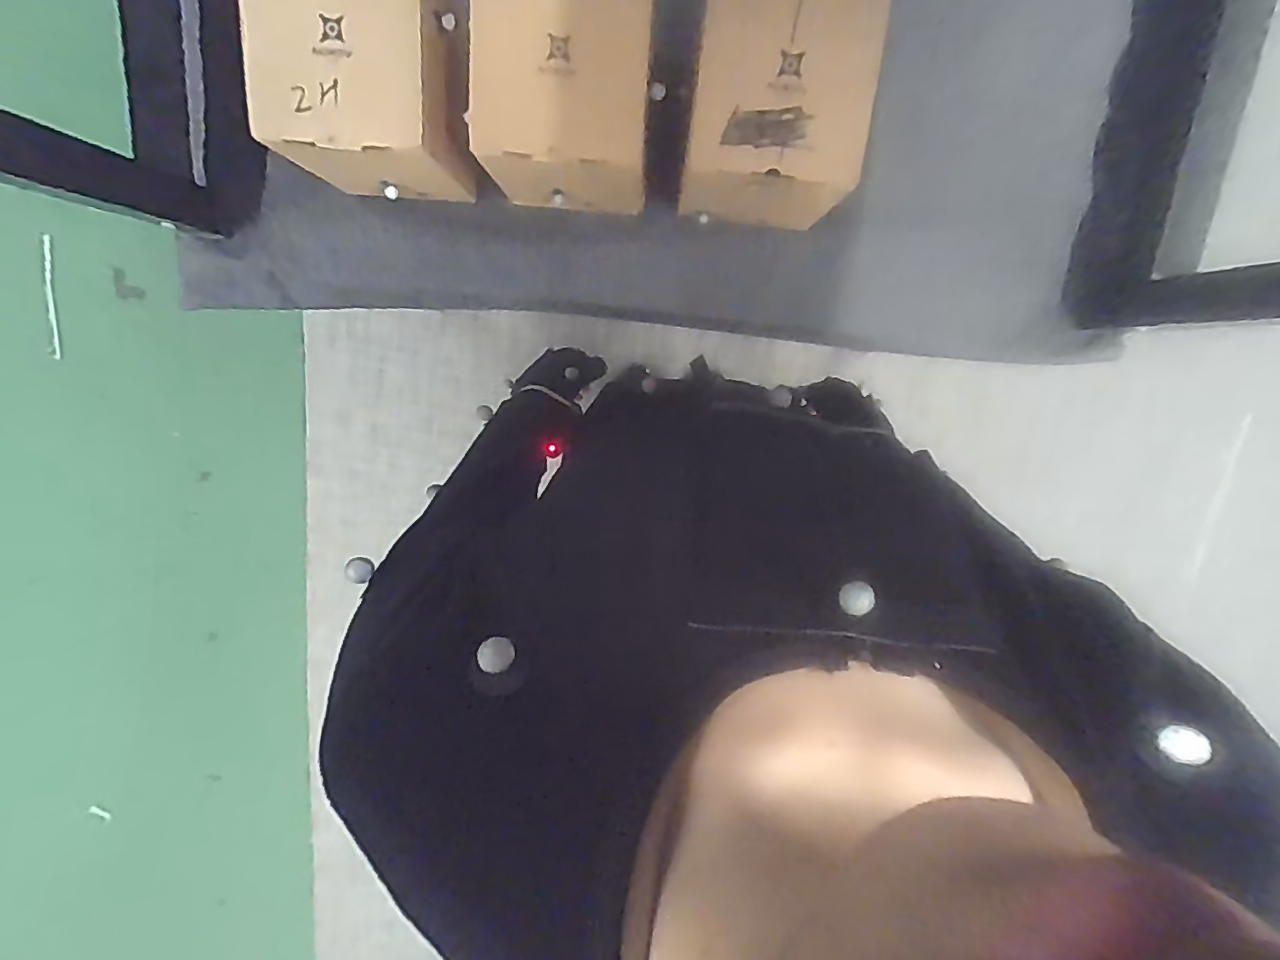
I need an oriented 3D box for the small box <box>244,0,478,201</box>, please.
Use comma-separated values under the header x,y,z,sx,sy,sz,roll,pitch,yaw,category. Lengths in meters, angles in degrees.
x,y,z,sx,sy,sz,roll,pitch,yaw,category
-0.278,-0.420,0.572,0.168,0.176,0.179,4,102,0,small box
